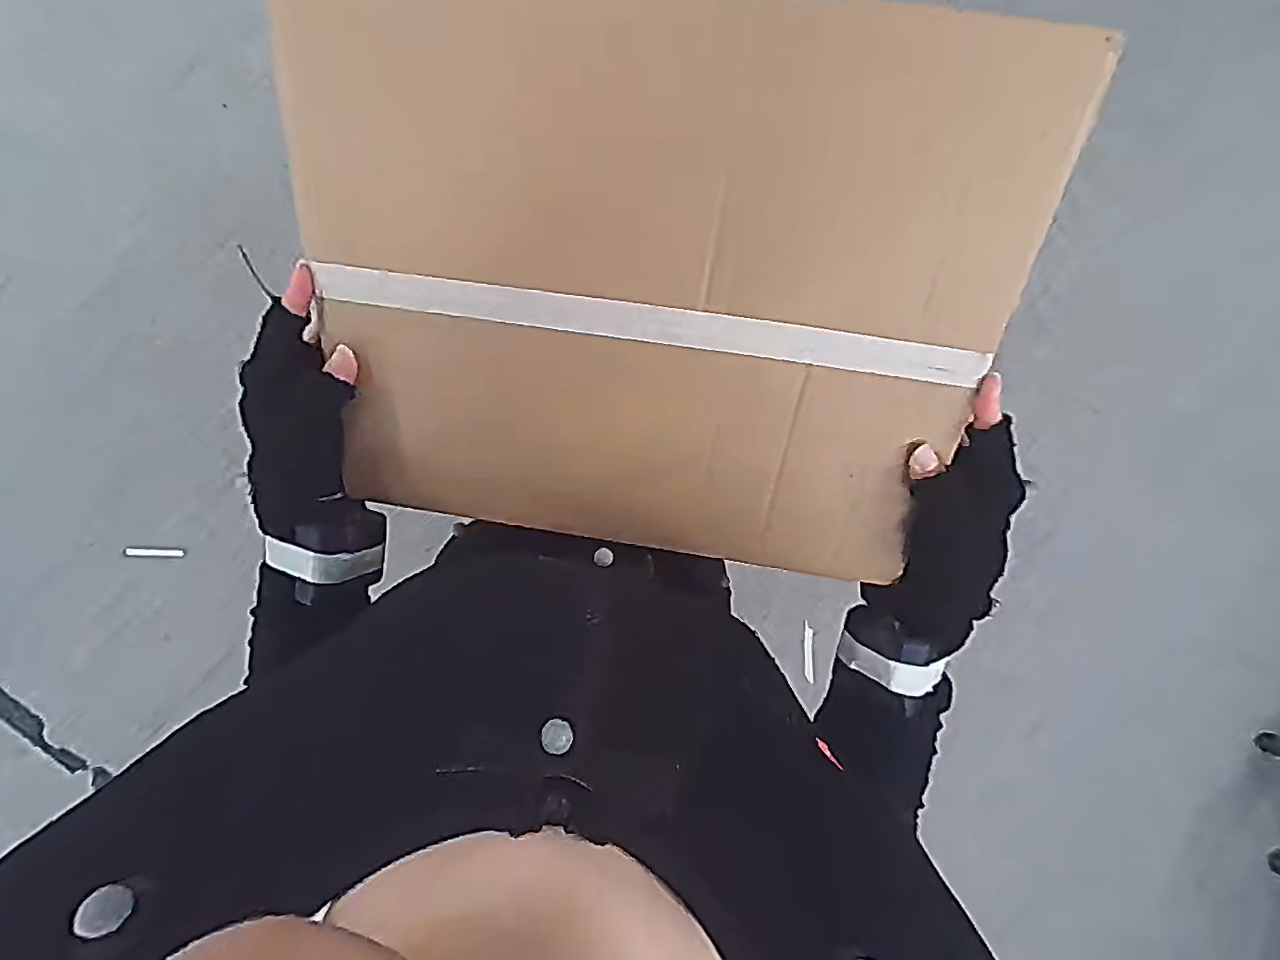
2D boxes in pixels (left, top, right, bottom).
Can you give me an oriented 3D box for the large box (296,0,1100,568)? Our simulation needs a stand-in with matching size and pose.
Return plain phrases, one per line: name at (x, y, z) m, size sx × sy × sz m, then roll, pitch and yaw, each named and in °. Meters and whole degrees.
large box at (0.019, -0.164, 0.461) m, size 0.408 × 0.320 × 0.320 m, roll 9°, pitch 119°, yaw 2°
